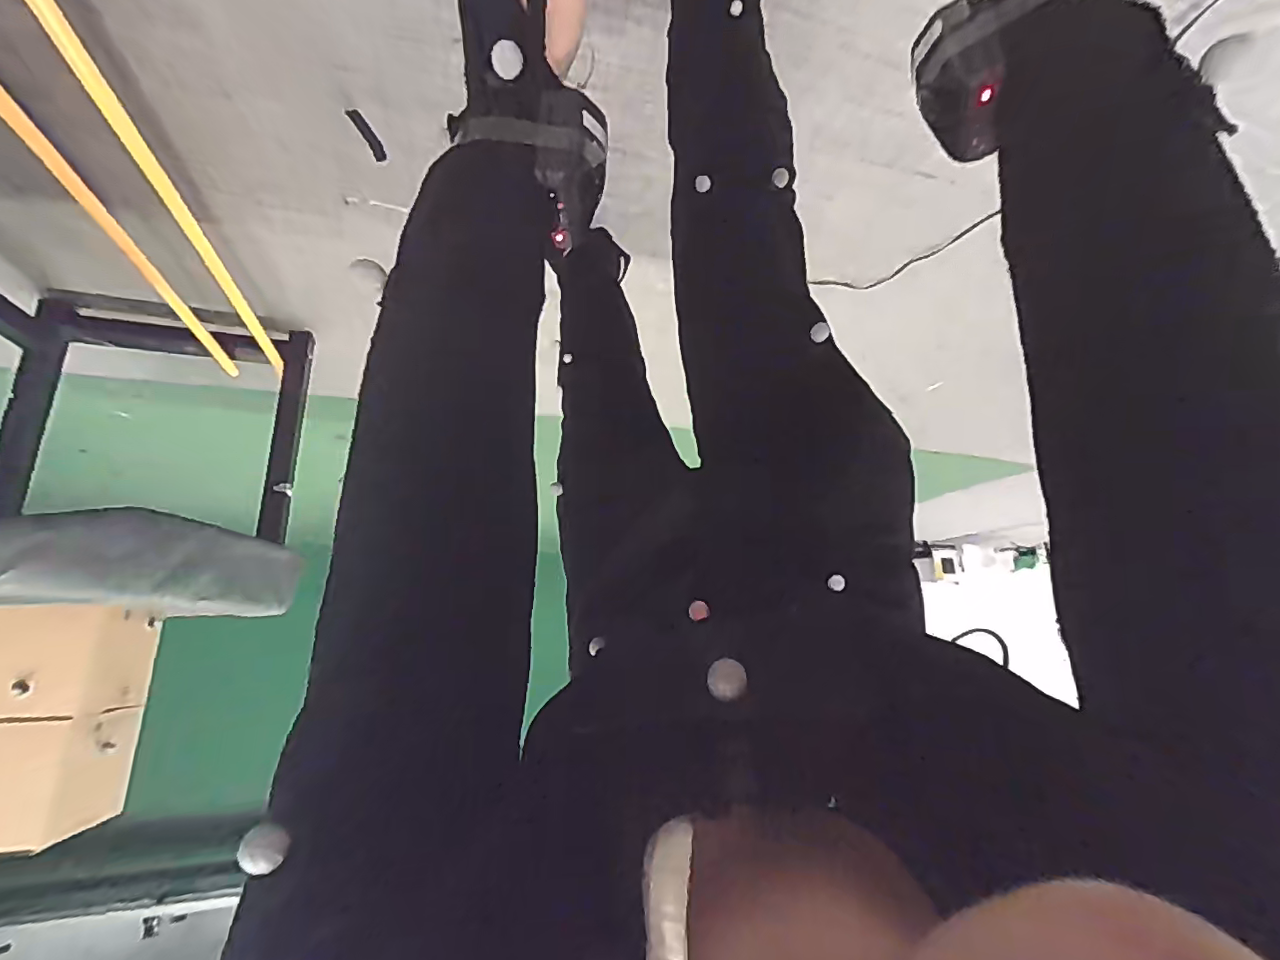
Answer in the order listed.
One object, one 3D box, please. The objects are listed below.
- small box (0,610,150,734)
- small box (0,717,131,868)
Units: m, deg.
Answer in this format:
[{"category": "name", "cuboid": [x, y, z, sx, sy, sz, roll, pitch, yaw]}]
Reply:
[{"category": "small box", "cuboid": [-0.915, 0.290, 0.842, 0.179, 0.176, 0.168, 4, 163, -13]}, {"category": "small box", "cuboid": [-0.915, 0.448, 0.795, 0.179, 0.176, 0.168, 2, 164, -11]}]
